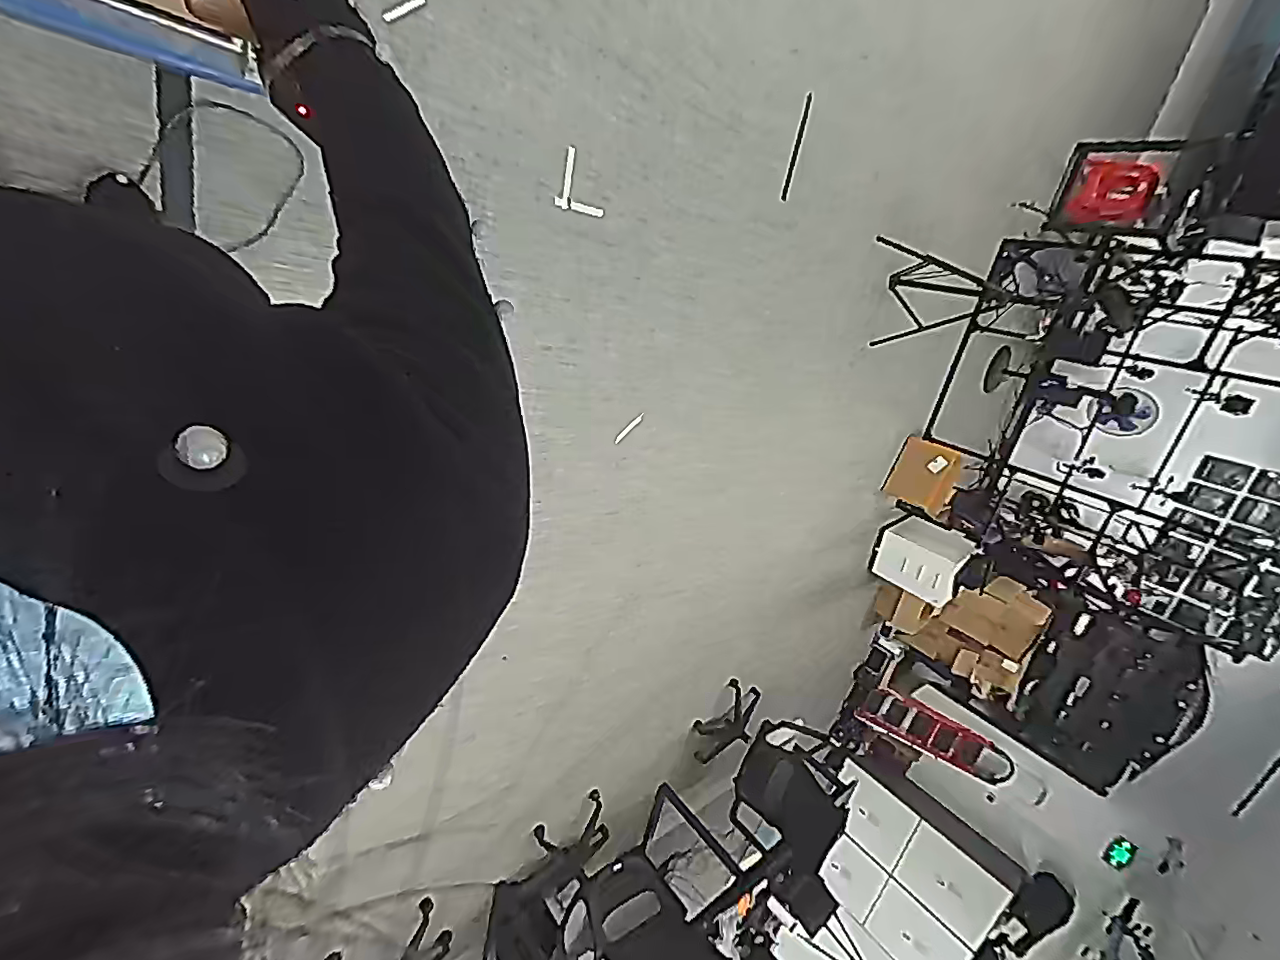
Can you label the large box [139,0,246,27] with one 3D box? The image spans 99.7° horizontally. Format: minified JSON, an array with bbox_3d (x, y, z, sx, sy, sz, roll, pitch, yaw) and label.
[{"bbox_3d":[-0.717,-0.812,0.620,0.408,0.320,0.320,-8,119,-43],"label":"large box"}]
